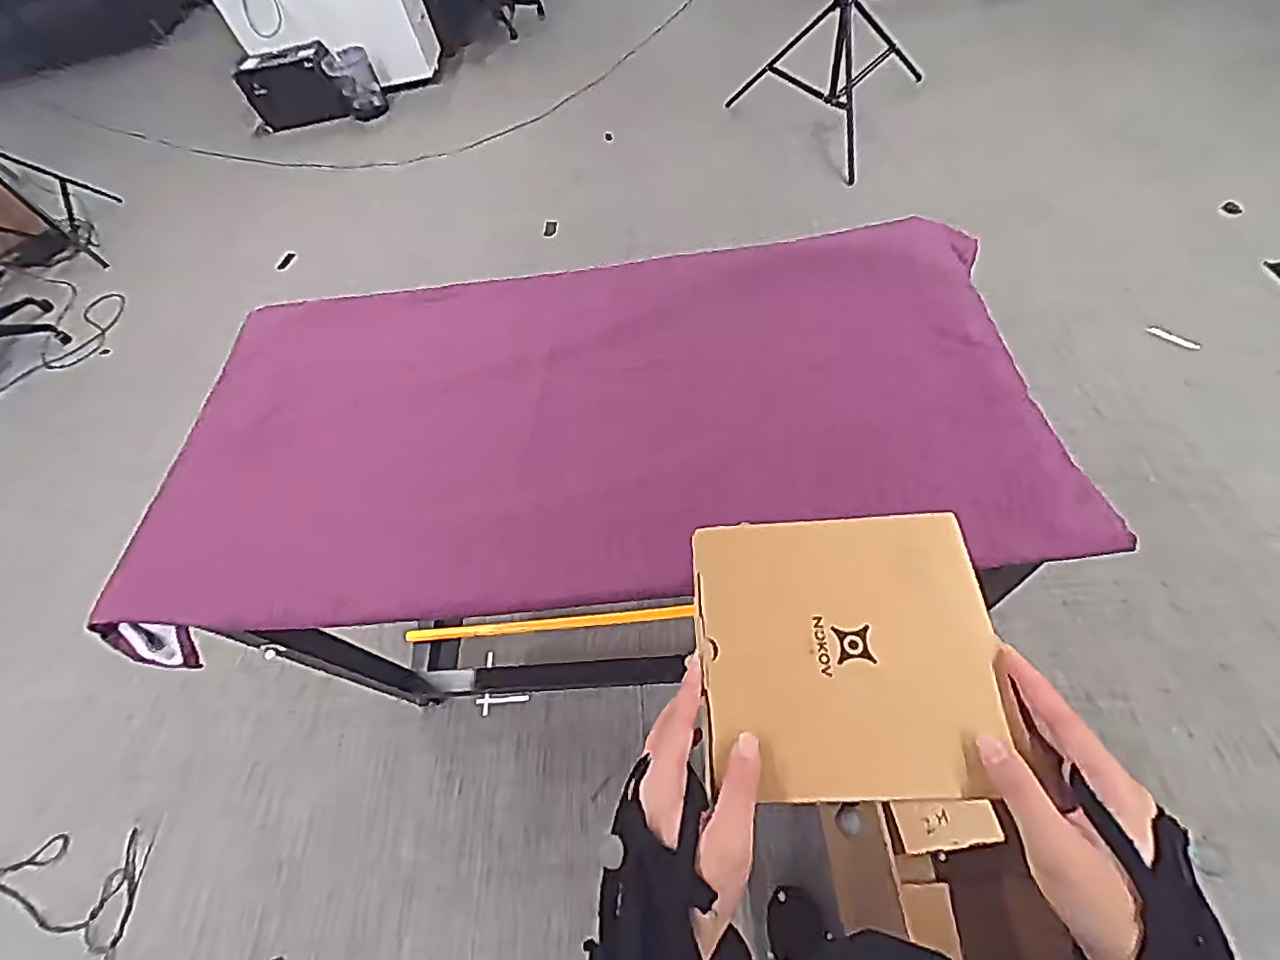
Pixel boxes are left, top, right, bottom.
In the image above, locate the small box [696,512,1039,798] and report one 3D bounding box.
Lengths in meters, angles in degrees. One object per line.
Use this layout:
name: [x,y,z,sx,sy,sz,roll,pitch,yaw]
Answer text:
small box: [0.133,0.135,0.399,0.179,0.176,0.168,-4,61,5]
